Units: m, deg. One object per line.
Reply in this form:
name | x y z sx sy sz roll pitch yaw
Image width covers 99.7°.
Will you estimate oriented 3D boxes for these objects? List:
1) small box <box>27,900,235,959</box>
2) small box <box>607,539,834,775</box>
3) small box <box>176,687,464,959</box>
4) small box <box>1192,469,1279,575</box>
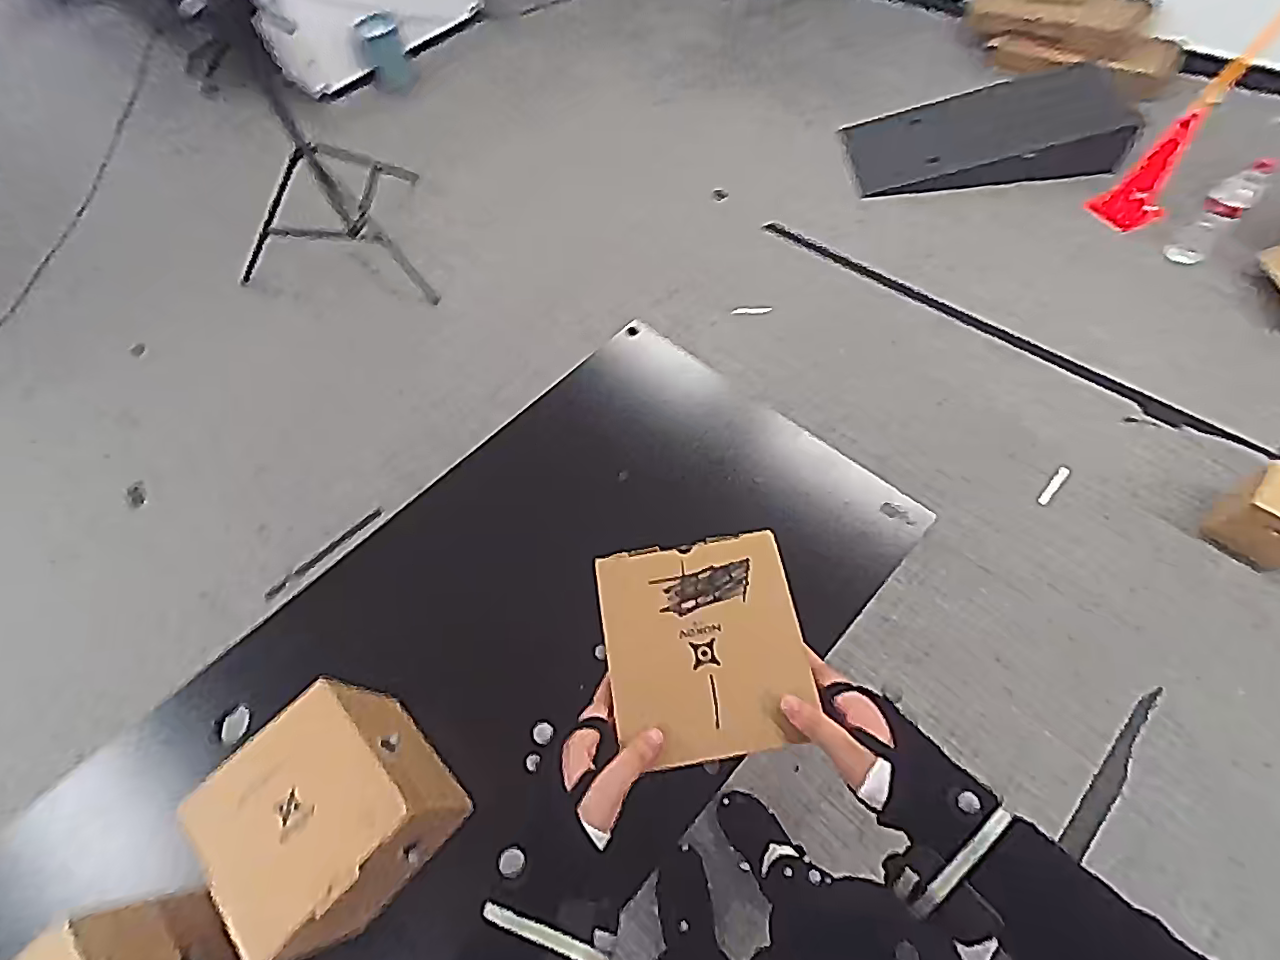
small box | -0.495 0.530 0.490 0.168 0.176 0.179 36 68 23
small box | 0.062 0.174 0.525 0.168 0.176 0.179 -8 66 -1
small box | -0.320 0.355 0.576 0.179 0.176 0.168 38 69 24
small box | 1.578 0.112 1.367 0.179 0.176 0.168 39 72 23
